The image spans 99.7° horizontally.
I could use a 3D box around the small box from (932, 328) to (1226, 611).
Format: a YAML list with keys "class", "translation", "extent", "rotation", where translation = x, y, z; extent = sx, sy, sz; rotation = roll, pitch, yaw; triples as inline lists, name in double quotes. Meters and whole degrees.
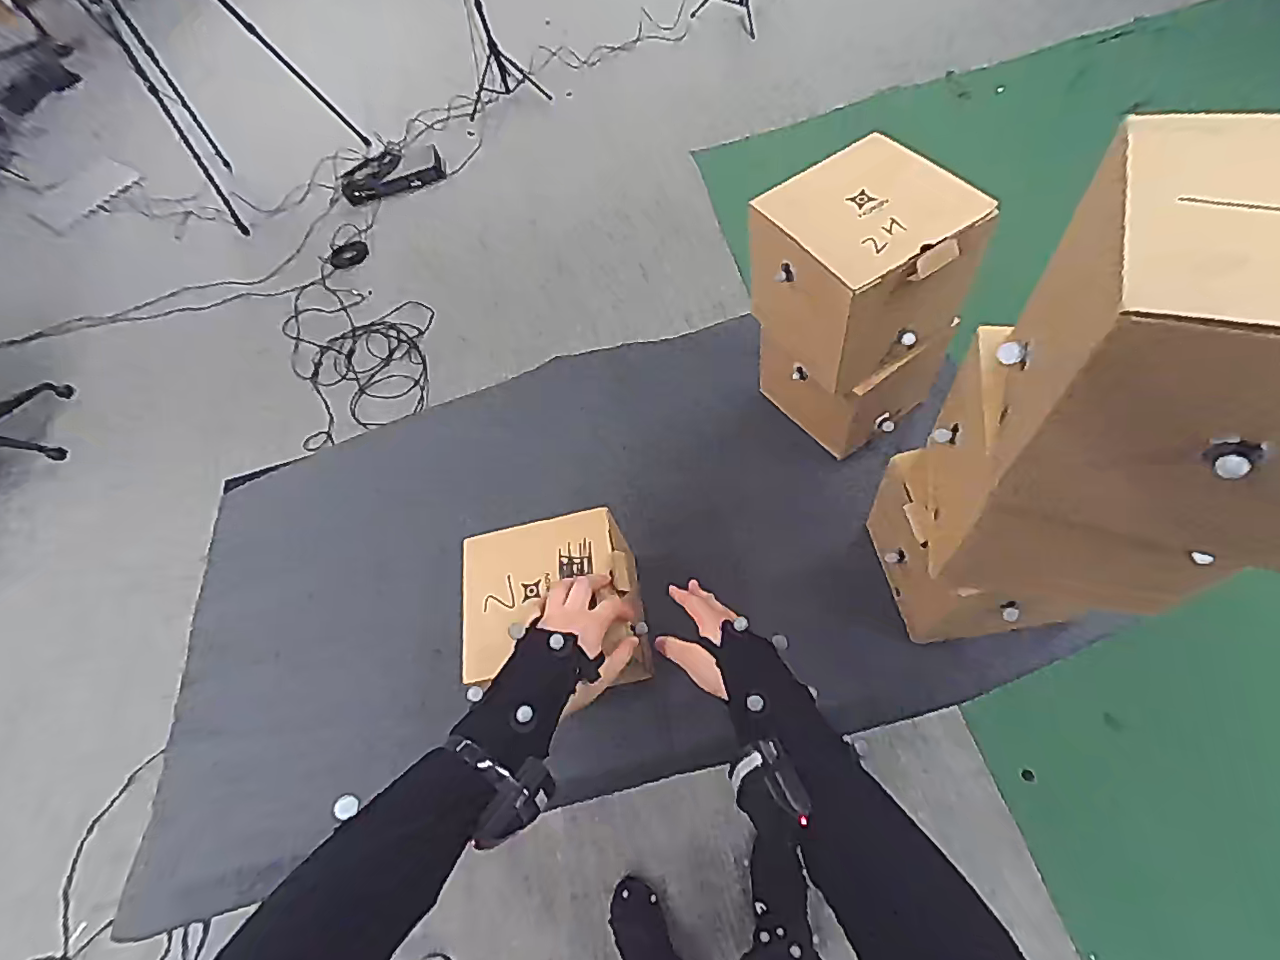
- class: "small box"
  translation: [0.356, -0.004, 0.450]
  extent: [0.179, 0.176, 0.168]
  rotation: [8, 61, 16]

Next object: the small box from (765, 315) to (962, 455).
- class: "small box"
  translation: [0.288, -0.167, 0.744]
  extent: [0.168, 0.176, 0.179]
  rotation: [-36, 62, -6]

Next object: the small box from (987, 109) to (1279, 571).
- class: "small box"
  translation: [0.328, -0.068, 0.298]
  extent: [0.179, 0.176, 0.168]
  rotation: [17, 64, 21]

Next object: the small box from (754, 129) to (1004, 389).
- class: "small box"
  translation: [0.242, -0.237, 0.602]
  extent: [0.168, 0.176, 0.179]
  rotation: [-30, 62, -2]

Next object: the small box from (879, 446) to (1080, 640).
- class: "small box"
  translation: [0.380, 0.066, 0.596]
  extent: [0.179, 0.176, 0.168]
  rotation: [-12, 58, 6]
